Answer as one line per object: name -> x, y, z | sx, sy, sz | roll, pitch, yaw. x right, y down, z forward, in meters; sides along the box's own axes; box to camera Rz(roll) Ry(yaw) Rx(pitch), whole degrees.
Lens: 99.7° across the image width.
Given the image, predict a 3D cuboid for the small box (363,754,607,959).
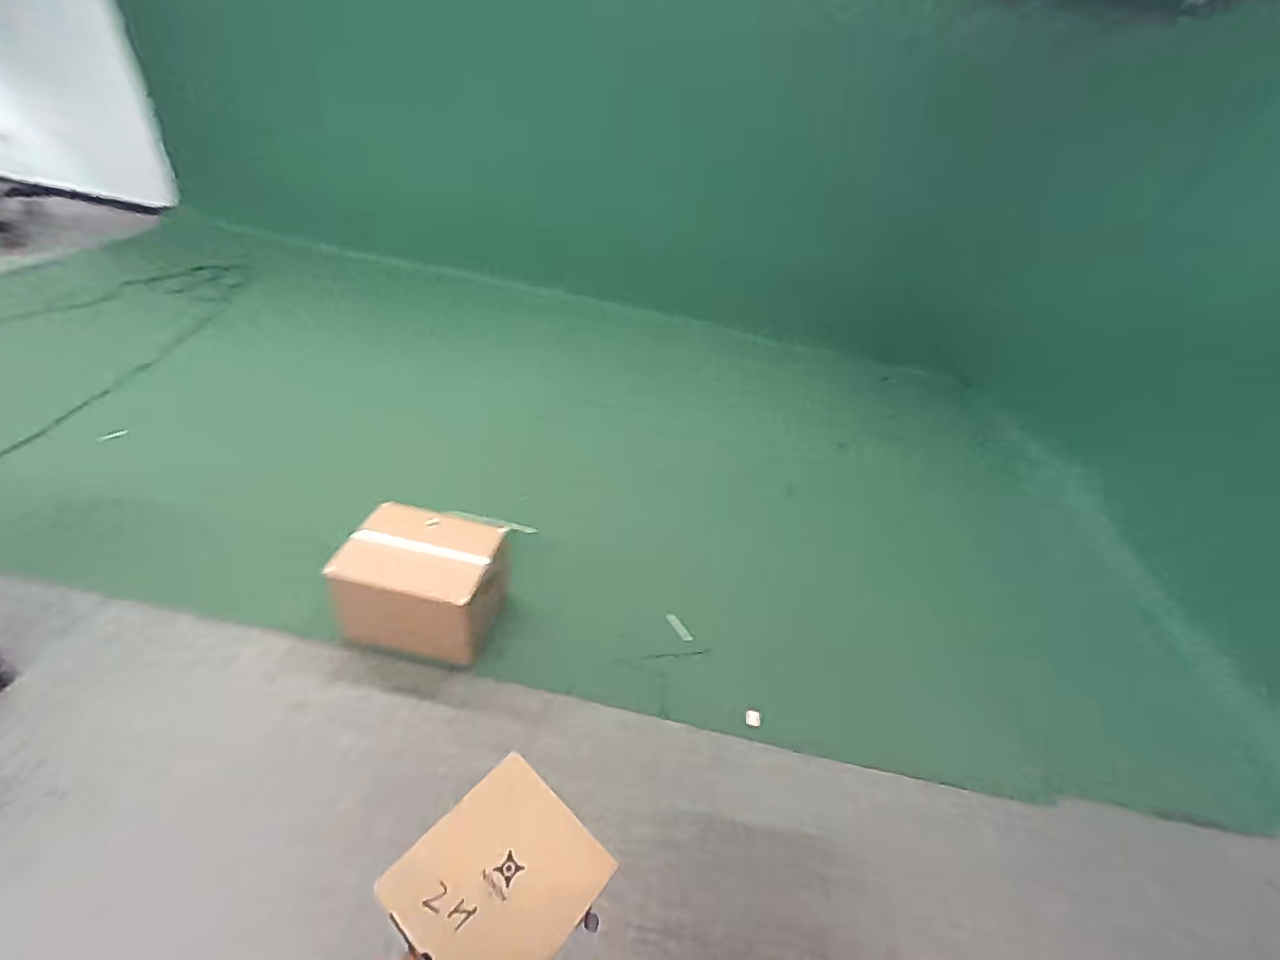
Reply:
small box -> -0.163, 0.445, 0.581 | 0.168, 0.176, 0.179 | 36, 46, 21
